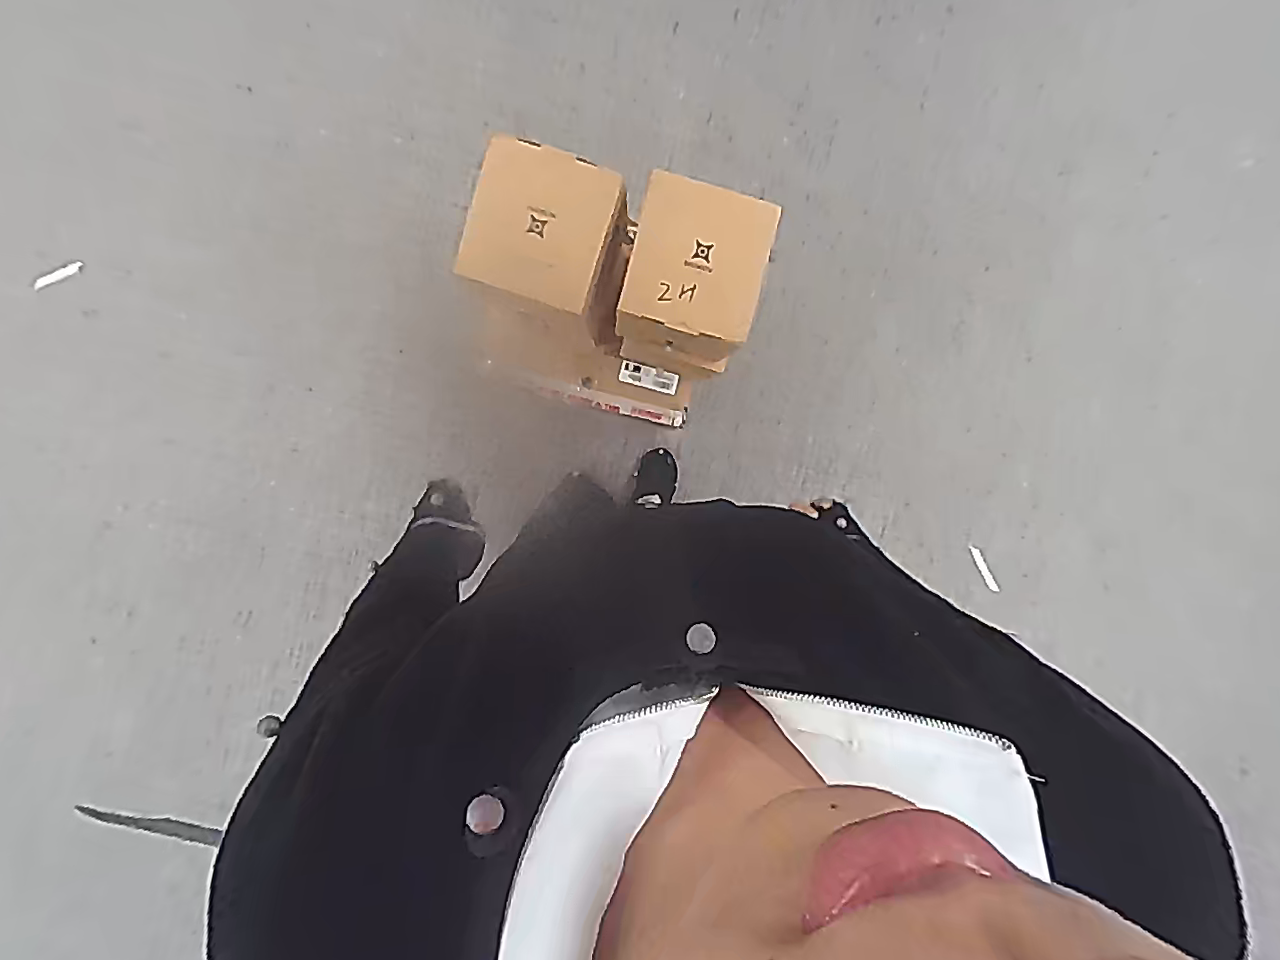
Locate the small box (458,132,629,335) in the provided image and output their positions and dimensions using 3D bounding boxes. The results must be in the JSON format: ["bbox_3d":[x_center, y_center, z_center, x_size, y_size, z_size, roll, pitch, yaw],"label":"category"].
[{"bbox_3d":[-0.116,-0.312,0.723,0.168,0.176,0.179,17,96,0],"label":"small box"}]

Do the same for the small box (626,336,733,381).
[{"bbox_3d":[0.075,-0.275,0.898,0.168,0.176,0.179,16,95,-4],"label":"small box"}]

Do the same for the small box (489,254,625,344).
[{"bbox_3d":[-0.125,-0.336,0.886,0.168,0.176,0.179,17,96,-1],"label":"small box"}]

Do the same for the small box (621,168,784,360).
[{"bbox_3d":[0.071,-0.276,0.732,0.168,0.176,0.179,14,94,-4],"label":"small box"}]
